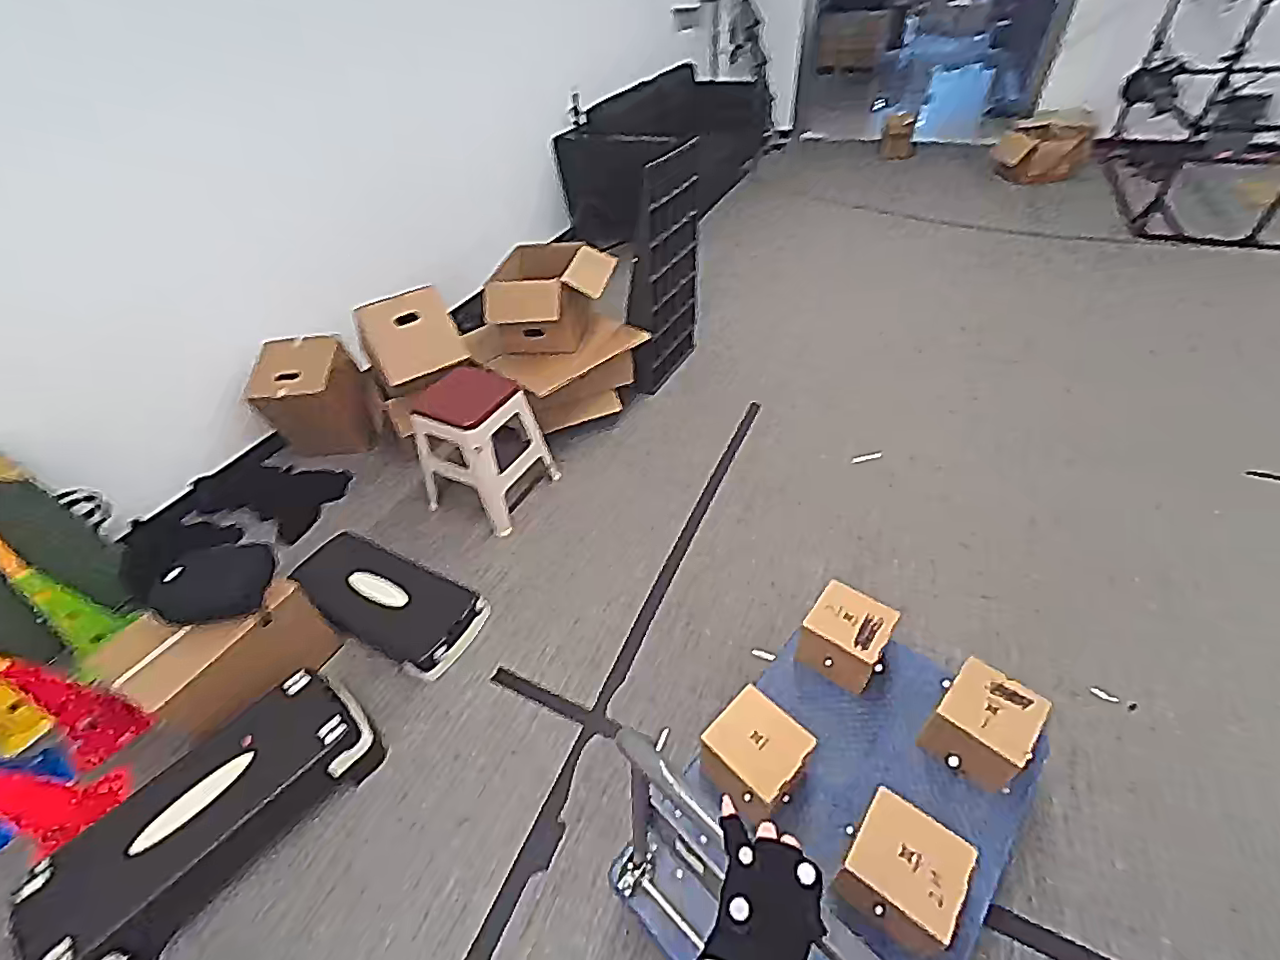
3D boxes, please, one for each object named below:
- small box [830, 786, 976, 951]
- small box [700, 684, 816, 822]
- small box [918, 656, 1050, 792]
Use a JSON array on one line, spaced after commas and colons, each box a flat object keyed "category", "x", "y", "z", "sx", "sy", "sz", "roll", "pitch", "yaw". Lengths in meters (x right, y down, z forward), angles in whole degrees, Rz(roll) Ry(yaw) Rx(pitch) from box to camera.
[{"category": "small box", "x": 0.472, "y": 0.714, "z": 0.992, "sx": 0.179, "sy": 0.176, "sz": 0.168, "roll": 28, "pitch": 52, "yaw": 30}, {"category": "small box", "x": 0.243, "y": 0.583, "z": 1.152, "sx": 0.168, "sy": 0.176, "sz": 0.179, "roll": -35, "pitch": 52, "yaw": -29}, {"category": "small box", "x": 0.733, "y": 0.527, "z": 1.169, "sx": 0.168, "sy": 0.176, "sz": 0.179, "roll": 32, "pitch": 56, "yaw": 33}]
